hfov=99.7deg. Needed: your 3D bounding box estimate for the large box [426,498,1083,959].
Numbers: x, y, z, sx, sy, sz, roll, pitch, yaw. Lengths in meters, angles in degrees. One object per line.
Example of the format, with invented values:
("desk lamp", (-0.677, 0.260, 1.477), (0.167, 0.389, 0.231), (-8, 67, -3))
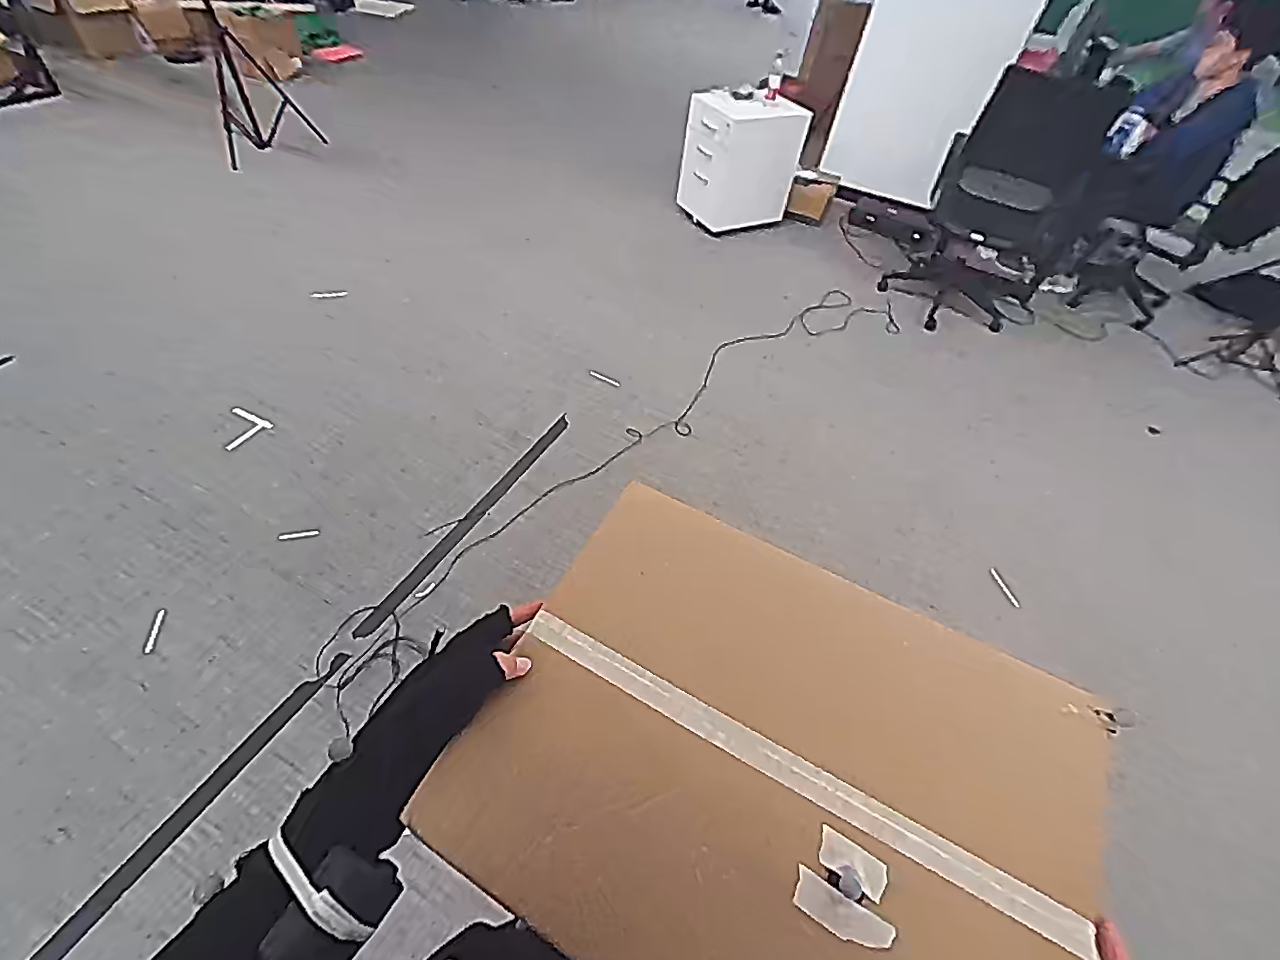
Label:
("large box", (0.093, 0.285, 0.516), (0.408, 0.320, 0.320), (25, 60, 16))
